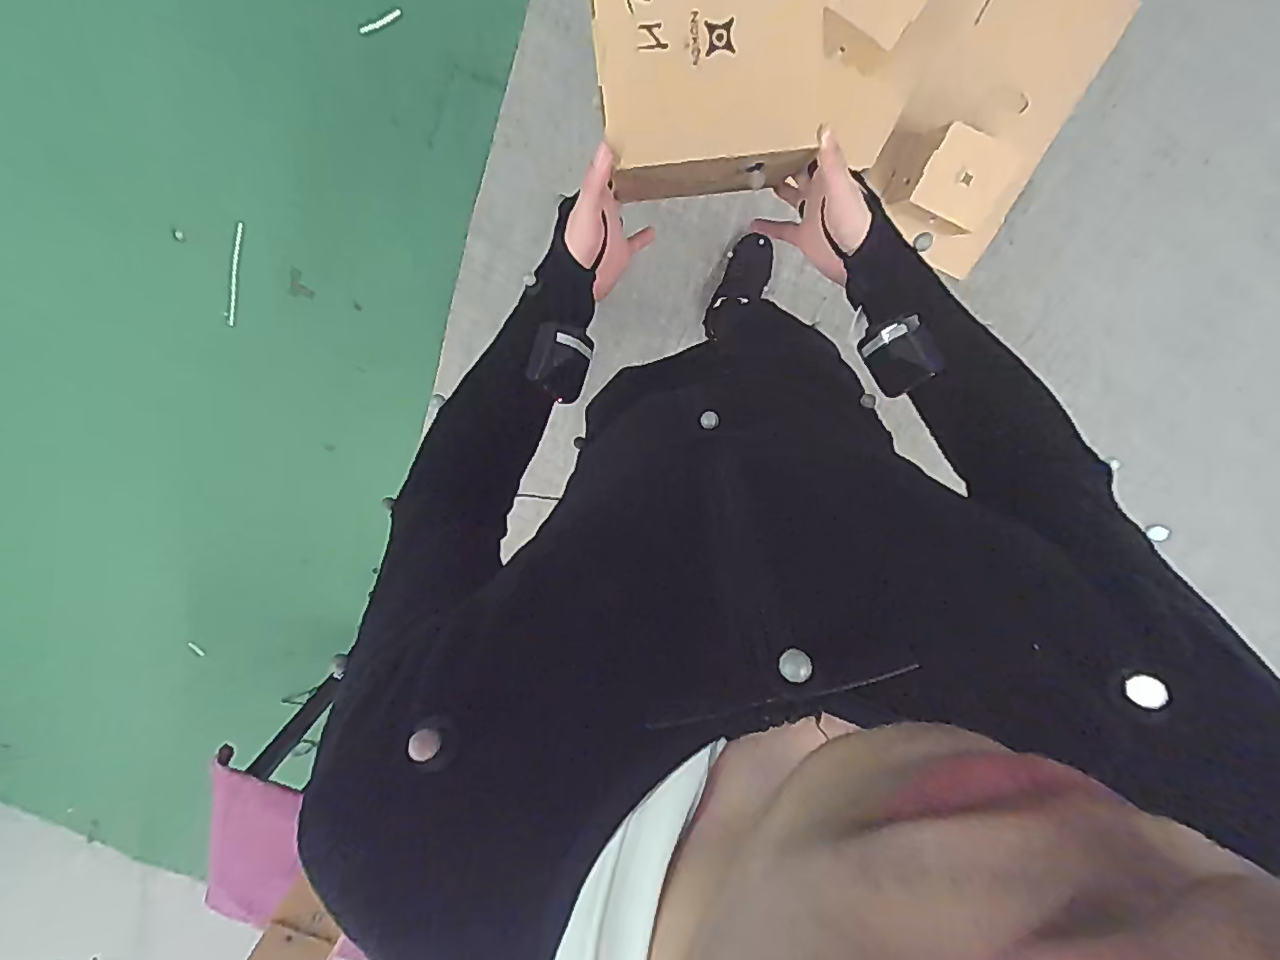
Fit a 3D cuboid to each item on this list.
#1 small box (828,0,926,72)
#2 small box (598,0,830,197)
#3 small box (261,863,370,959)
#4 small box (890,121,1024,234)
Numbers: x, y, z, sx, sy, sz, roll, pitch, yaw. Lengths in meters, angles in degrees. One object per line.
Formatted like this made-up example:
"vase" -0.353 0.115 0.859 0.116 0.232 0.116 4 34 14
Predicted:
"small box" 0.483 -0.996 1.128 0.179 0.176 0.168 31 113 -6
"small box" 0.058 -0.365 0.487 0.179 0.176 0.168 -4 108 3
"small box" -0.849 1.160 1.428 0.179 0.176 0.168 25 113 -3
"small box" 0.708 -0.677 1.235 0.179 0.176 0.168 25 114 -3
